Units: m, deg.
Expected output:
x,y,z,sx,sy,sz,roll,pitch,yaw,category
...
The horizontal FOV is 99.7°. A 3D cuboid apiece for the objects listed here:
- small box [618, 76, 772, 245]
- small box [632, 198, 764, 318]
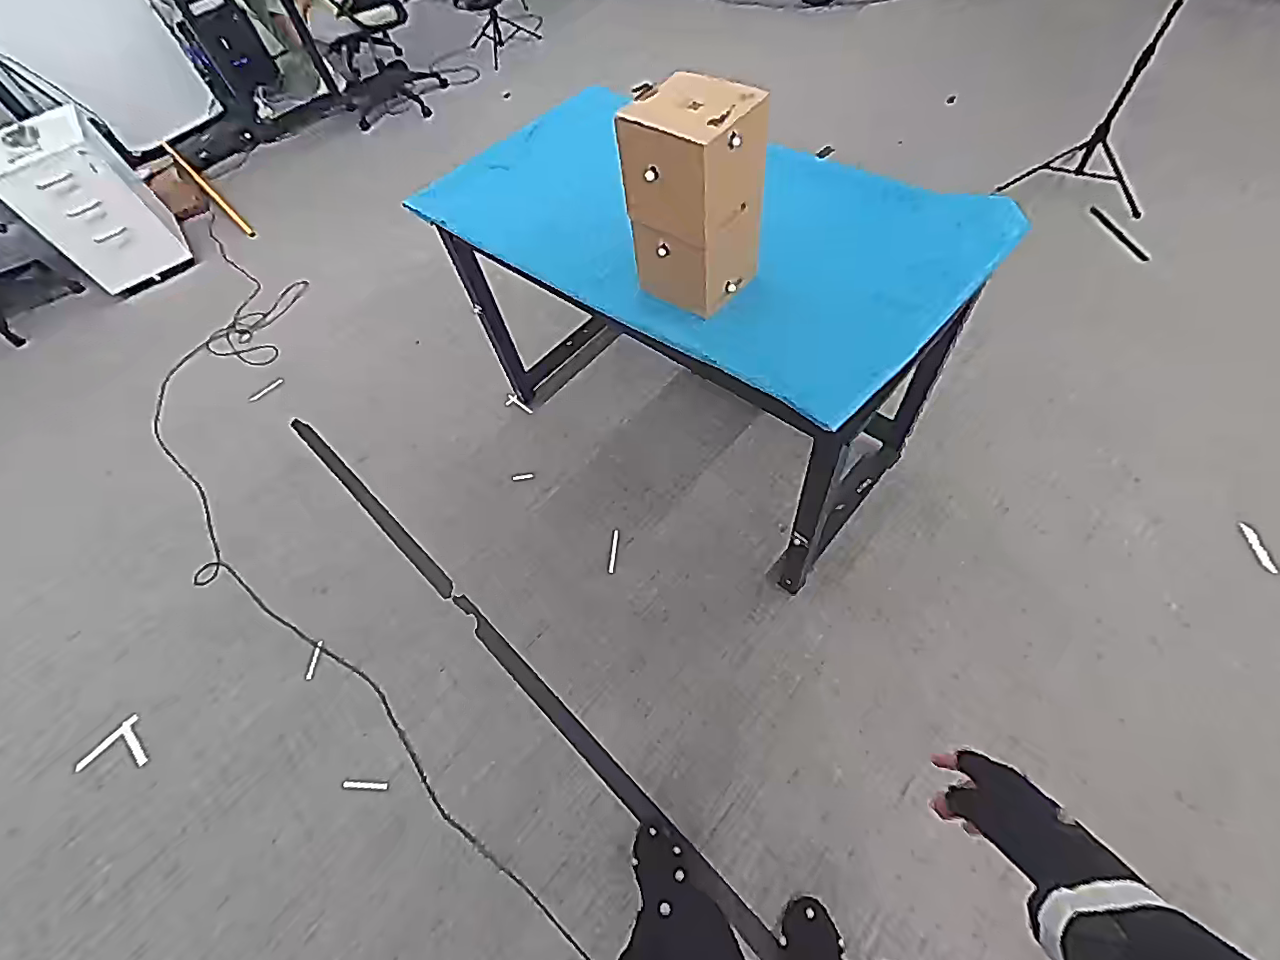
x,y,z,sx,sy,sz,roll,pitch,yaw,category
0.091,-0.513,0.878,0.179,0.176,0.168,31,68,24,small box
0.111,-0.437,1.020,0.179,0.176,0.168,35,70,26,small box
